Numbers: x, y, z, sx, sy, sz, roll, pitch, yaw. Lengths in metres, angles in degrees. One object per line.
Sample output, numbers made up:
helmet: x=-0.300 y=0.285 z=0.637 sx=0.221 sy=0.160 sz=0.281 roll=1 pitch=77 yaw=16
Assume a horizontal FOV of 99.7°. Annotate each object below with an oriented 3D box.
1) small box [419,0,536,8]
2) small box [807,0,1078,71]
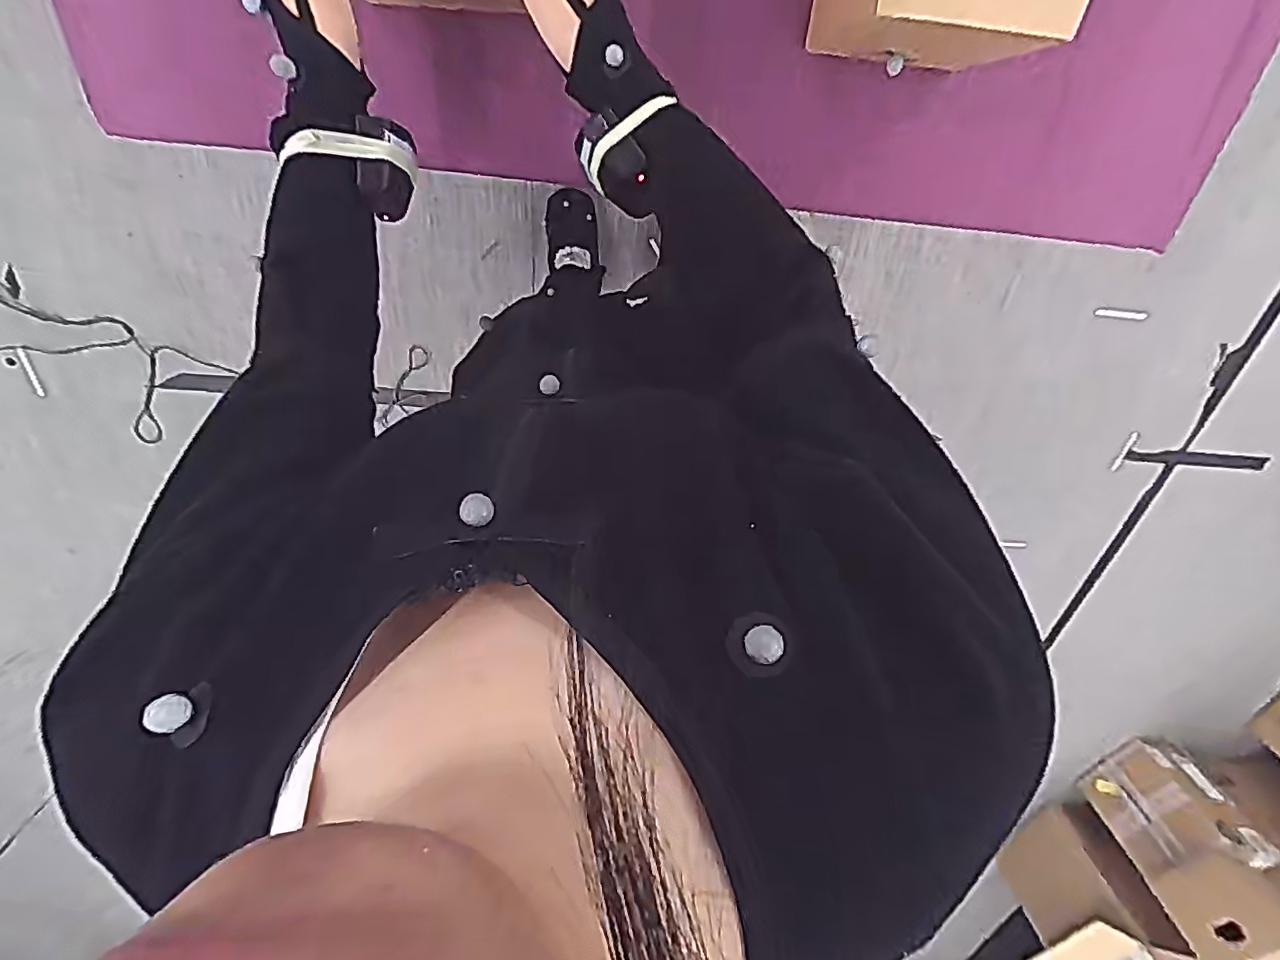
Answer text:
small box: x=-0.163 y=-0.481 z=0.405 sx=0.179 sy=0.176 sz=0.168 roll=0 pitch=121 yaw=-4
small box: x=0.256 y=-0.465 z=0.446 sx=0.168 sy=0.176 sz=0.179 roll=3 pitch=121 yaw=-6
